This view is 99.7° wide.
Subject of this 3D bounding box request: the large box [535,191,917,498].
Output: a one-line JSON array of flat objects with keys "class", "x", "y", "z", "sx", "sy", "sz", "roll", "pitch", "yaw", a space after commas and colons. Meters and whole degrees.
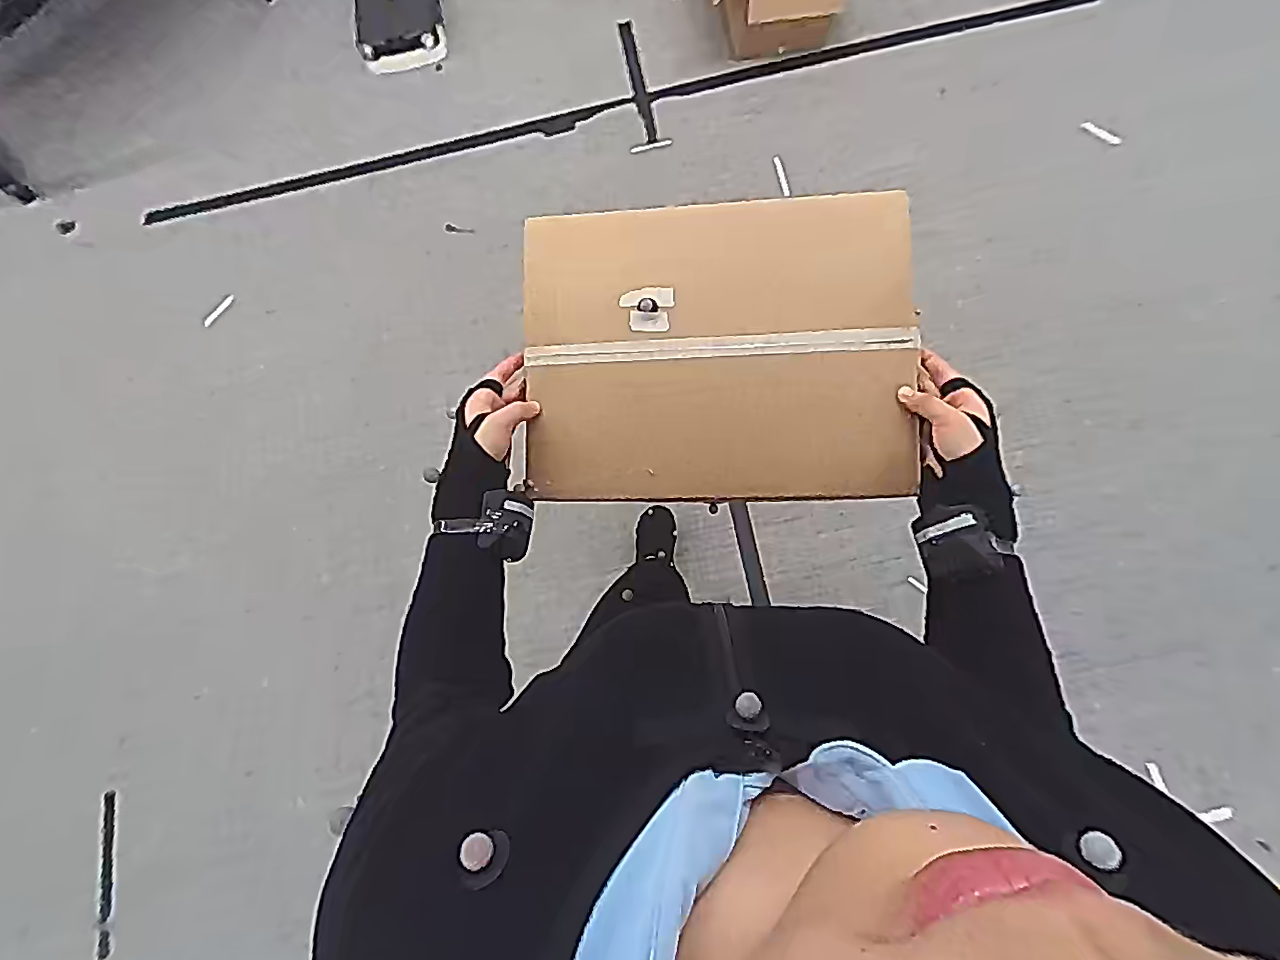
[{"class": "large box", "x": 0.102, "y": -0.136, "z": 0.727, "sx": 0.408, "sy": 0.320, "sz": 0.320, "roll": -1, "pitch": 86, "yaw": 8}]
